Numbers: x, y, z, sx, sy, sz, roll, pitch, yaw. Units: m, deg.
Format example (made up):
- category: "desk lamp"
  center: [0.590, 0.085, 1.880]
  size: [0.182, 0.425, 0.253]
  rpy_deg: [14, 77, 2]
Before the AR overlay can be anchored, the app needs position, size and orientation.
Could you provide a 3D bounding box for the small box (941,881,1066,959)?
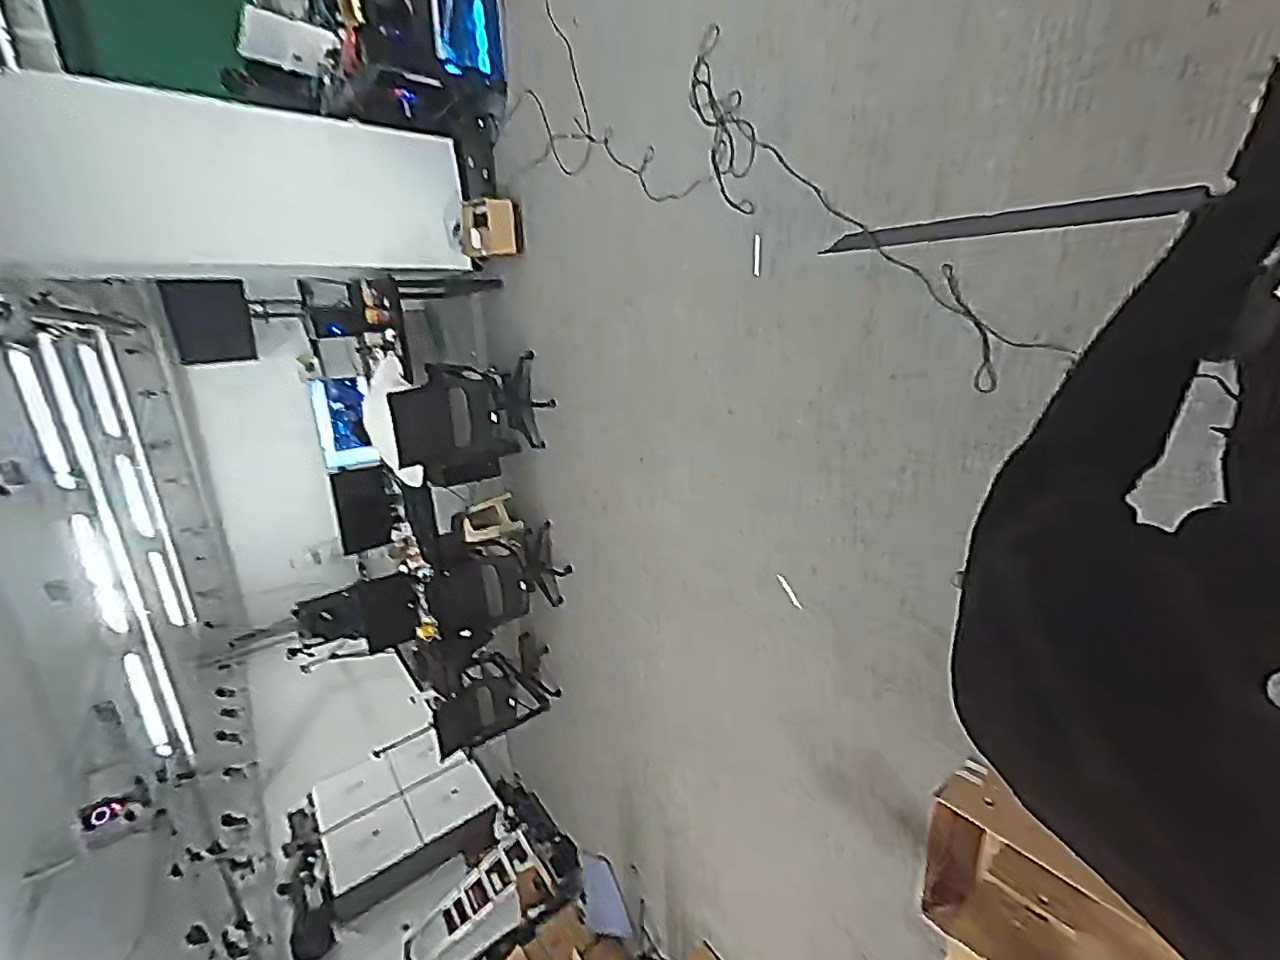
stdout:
- category: "small box"
  center: [0.737, 0.990, 1.105]
  size: [0.168, 0.176, 0.179]
  rpy_deg: [20, 118, 46]
